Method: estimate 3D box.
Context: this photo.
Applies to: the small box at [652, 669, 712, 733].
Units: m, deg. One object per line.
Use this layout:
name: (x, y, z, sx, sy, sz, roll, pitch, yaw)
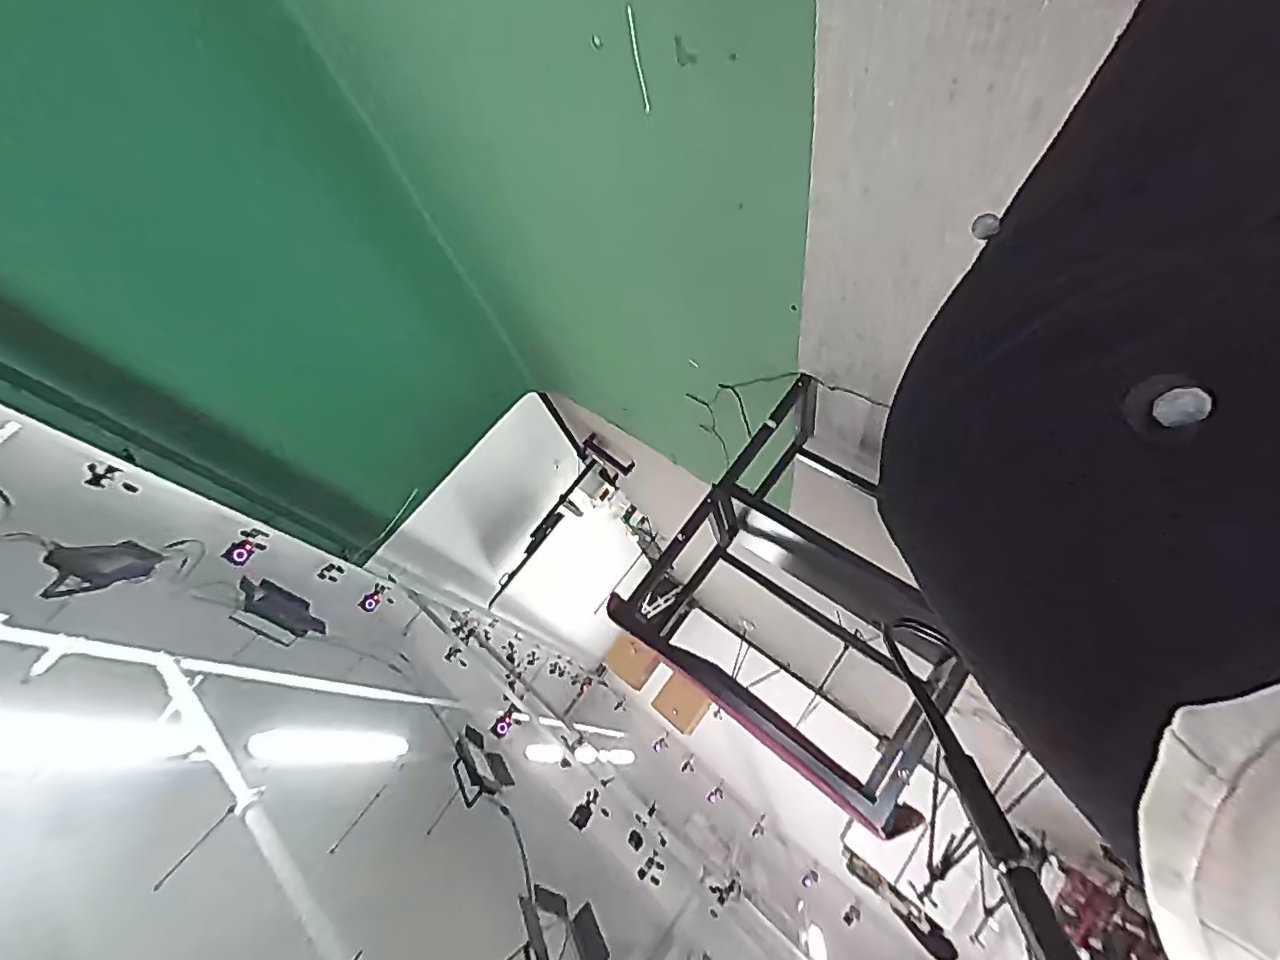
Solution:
small box: (0.181, 0.901, 2.202, 0.179, 0.176, 0.168, 33, 166, 28)
